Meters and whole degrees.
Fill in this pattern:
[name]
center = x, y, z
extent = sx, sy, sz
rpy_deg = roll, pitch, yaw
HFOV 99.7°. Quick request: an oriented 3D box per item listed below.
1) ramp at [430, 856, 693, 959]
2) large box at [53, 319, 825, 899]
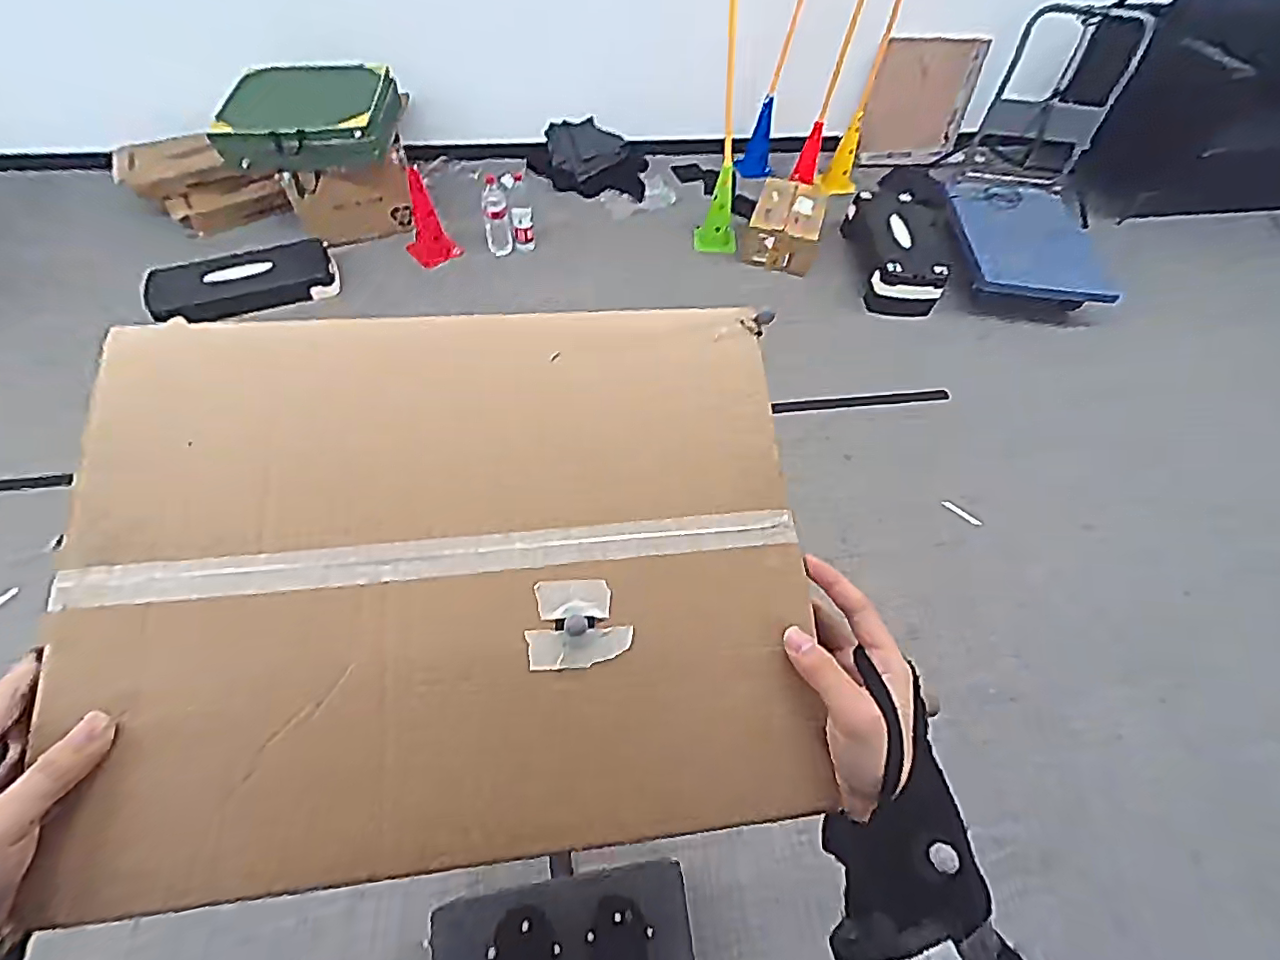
[ramp]
center = -0.093, 1.241, 0.881
extent = 0.509, 0.206, 0.991
rpy_deg = -6, 57, -9
[large box]
center = -0.120, 0.086, 0.467
extent = 0.408, 0.320, 0.320
rpy_deg = -4, 75, -7
